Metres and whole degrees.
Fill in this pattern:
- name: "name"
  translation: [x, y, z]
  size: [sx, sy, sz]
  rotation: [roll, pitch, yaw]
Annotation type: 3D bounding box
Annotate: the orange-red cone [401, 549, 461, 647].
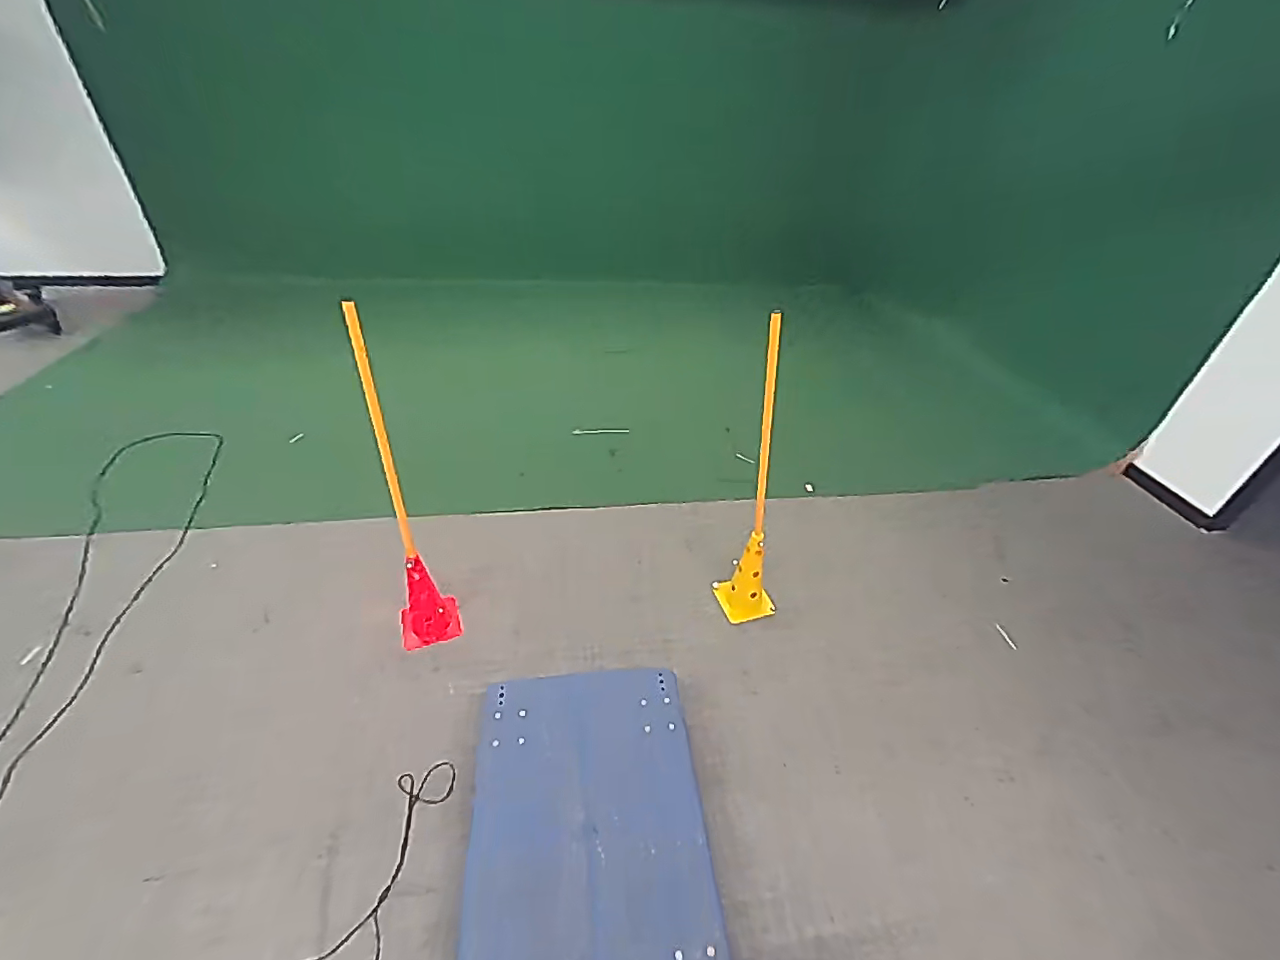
- name: "orange-red cone"
  translation: [-0.760, 0.377, 1.872]
  size: [0.199, 0.360, 0.198]
  rotation: [-13, 40, -18]
